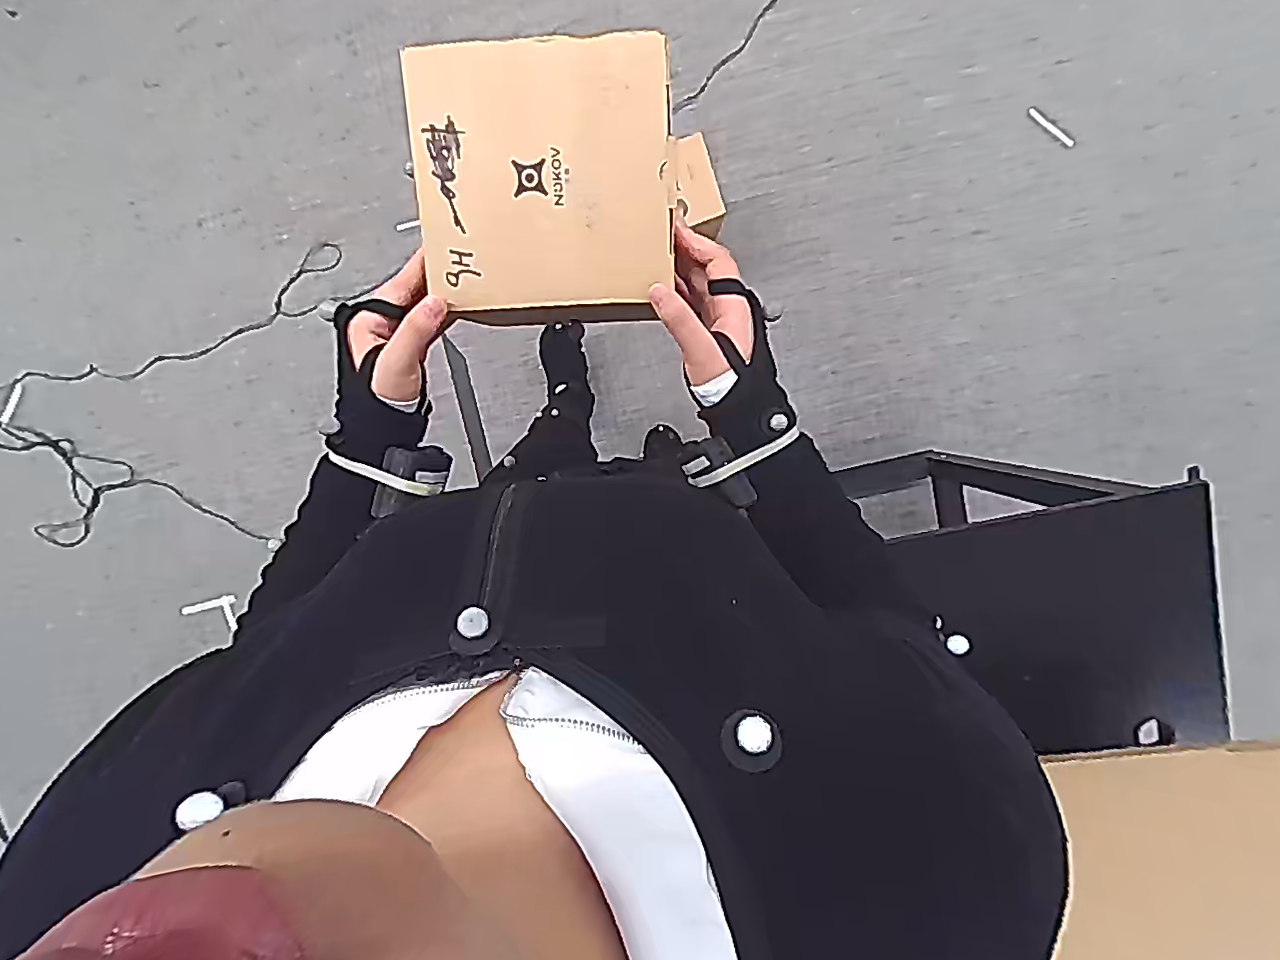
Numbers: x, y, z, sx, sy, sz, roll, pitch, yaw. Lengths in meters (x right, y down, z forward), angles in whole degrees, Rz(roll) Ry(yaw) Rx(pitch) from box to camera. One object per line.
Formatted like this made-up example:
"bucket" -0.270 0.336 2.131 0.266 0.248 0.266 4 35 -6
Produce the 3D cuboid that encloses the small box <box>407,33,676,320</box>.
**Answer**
"small box" -0.065 -0.226 0.446 0.179 0.176 0.168 -2 101 0

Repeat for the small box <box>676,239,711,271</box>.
"small box" 0.064 -0.616 1.335 0.179 0.176 0.168 -16 96 5

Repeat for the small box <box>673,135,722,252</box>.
"small box" 0.064 -0.598 1.173 0.179 0.176 0.168 -19 97 3
